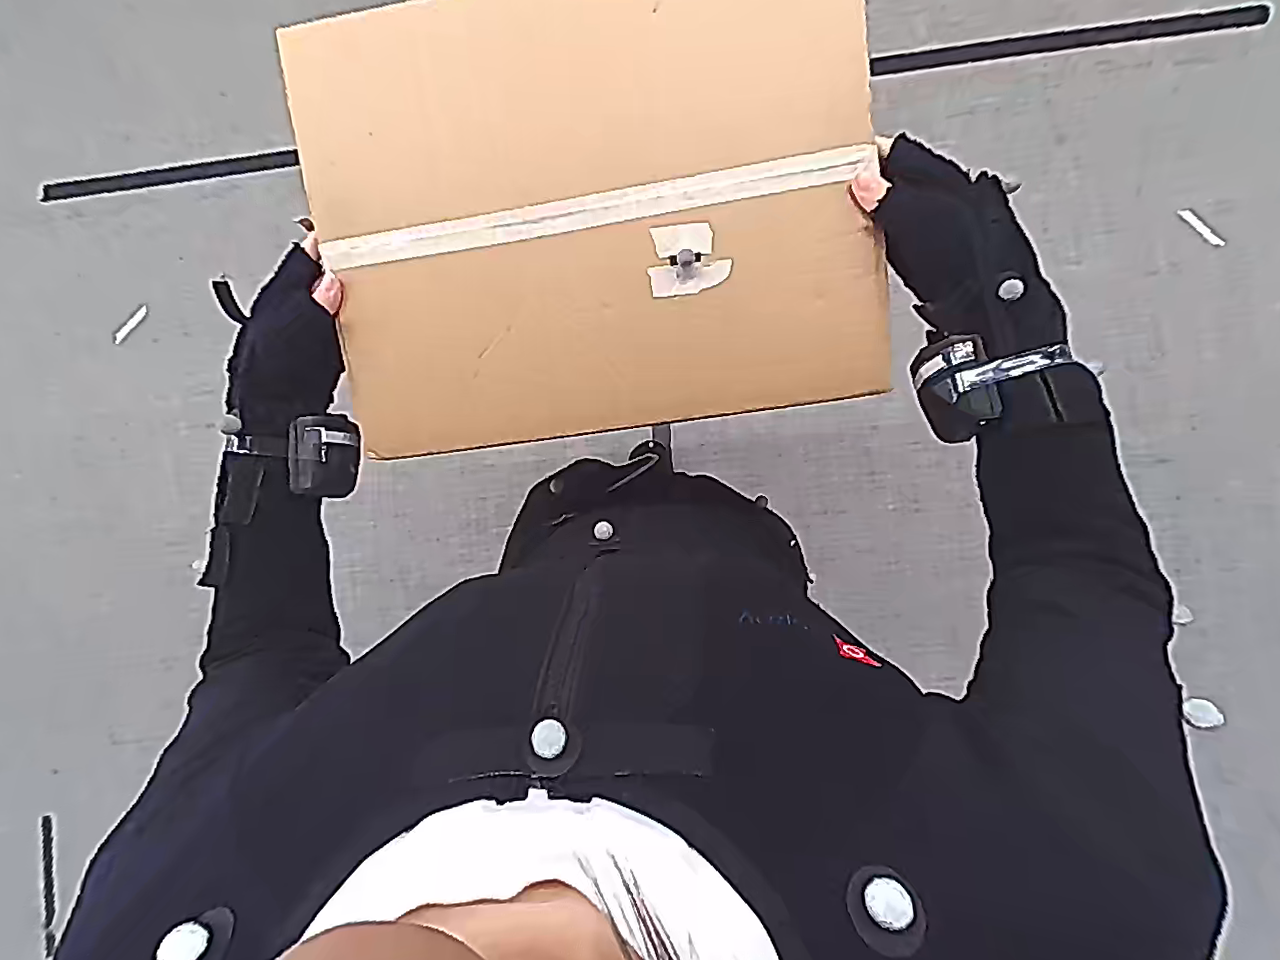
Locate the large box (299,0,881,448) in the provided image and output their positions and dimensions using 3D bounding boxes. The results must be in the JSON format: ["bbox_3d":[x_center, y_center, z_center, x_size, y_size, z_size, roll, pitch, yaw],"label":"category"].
[{"bbox_3d":[-0.028,-0.225,0.548,0.408,0.320,0.320,-8,99,4],"label":"large box"}]
